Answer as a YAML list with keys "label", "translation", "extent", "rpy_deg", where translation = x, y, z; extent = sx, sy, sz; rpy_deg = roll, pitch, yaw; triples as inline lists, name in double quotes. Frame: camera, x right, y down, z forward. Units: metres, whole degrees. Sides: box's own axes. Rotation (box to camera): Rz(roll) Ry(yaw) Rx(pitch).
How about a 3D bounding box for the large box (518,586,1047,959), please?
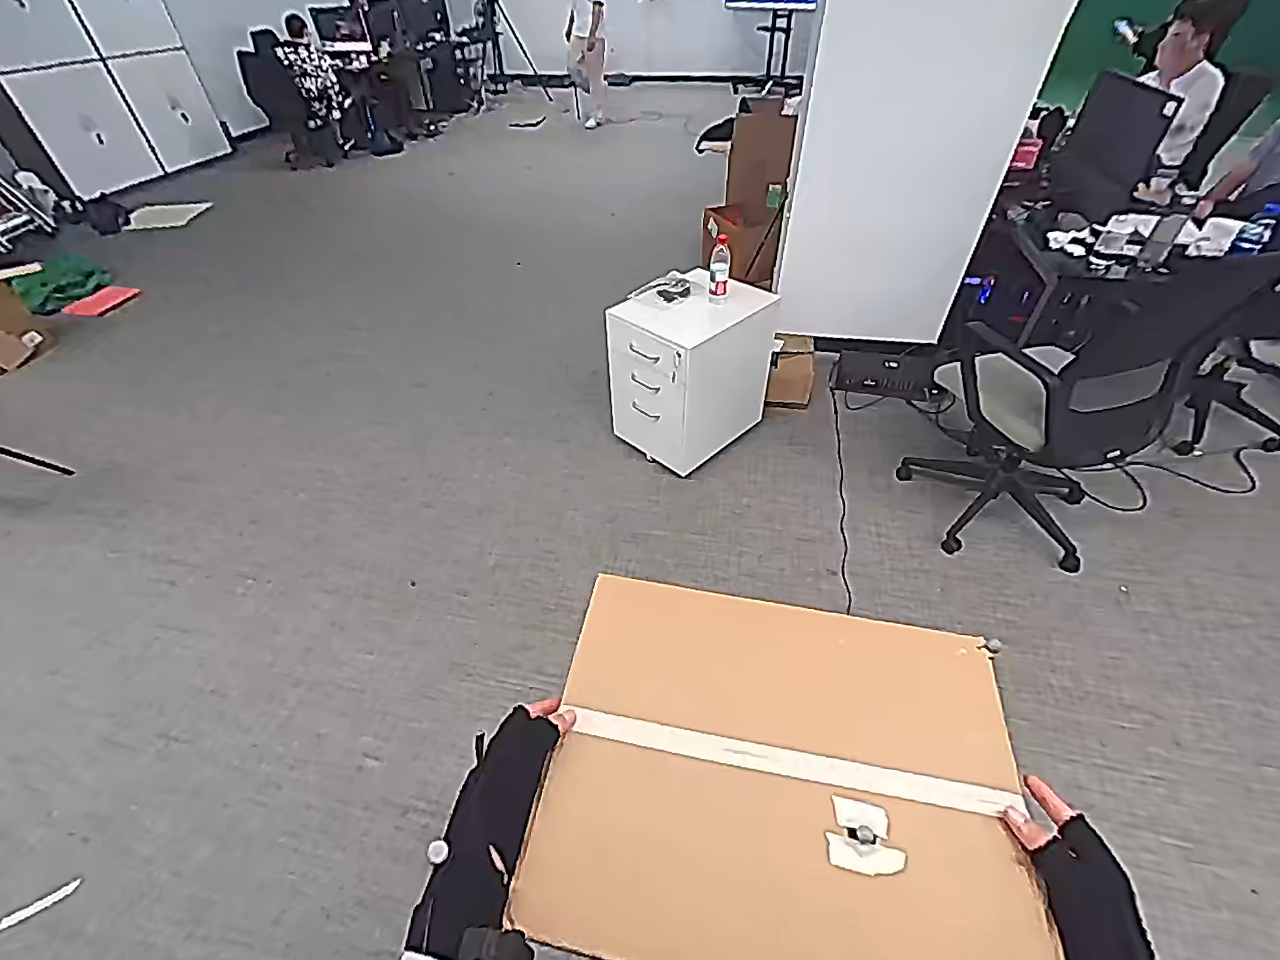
- label: "large box"
  translation: [0.124, 0.355, 0.598]
  extent: [0.408, 0.320, 0.320]
  rpy_deg: [9, 50, 8]
